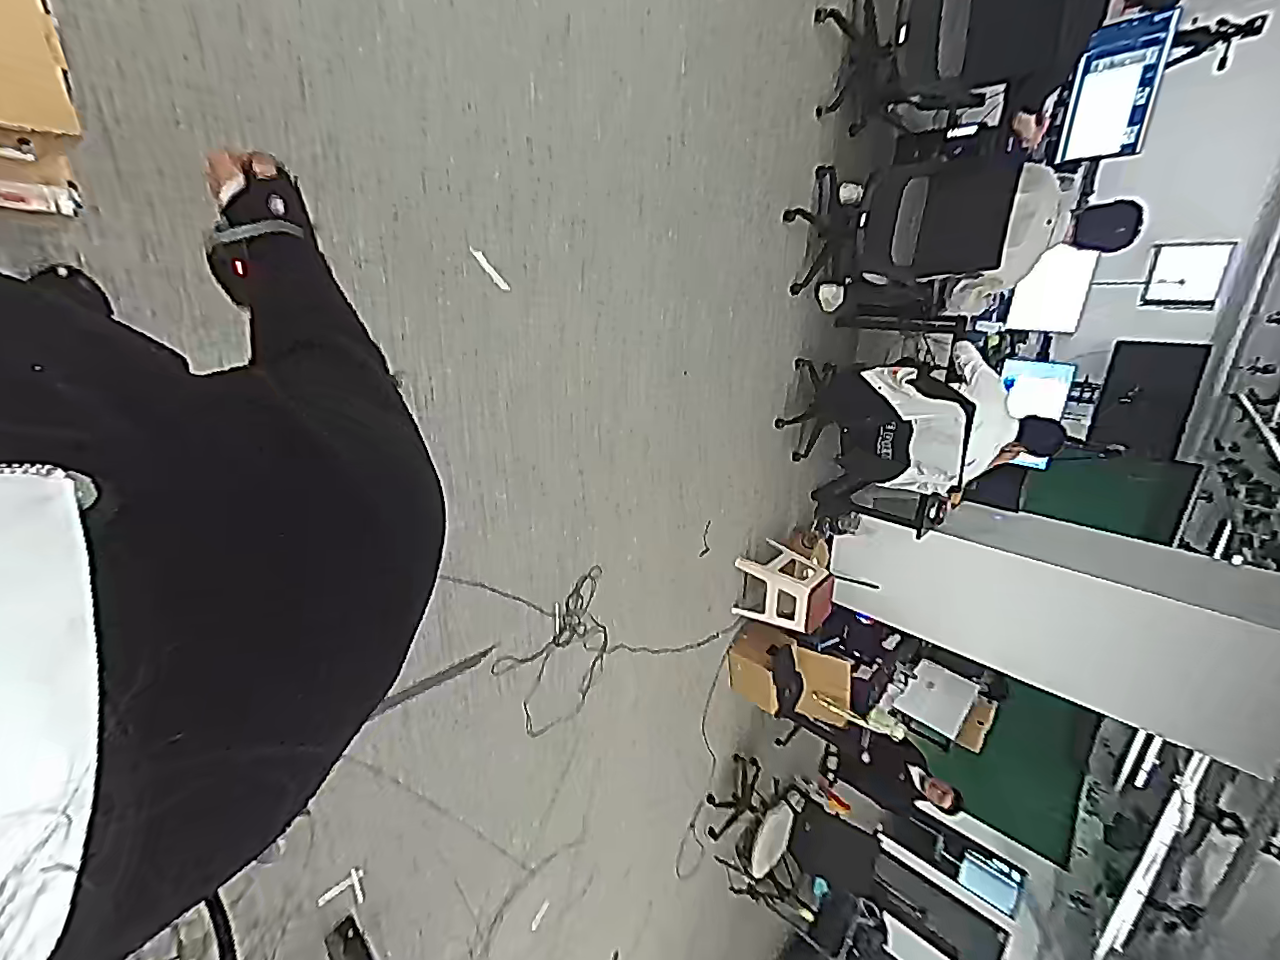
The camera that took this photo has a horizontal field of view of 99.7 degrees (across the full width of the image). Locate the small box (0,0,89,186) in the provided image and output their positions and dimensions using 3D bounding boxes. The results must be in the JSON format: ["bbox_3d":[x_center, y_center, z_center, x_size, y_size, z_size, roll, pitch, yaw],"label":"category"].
[{"bbox_3d":[-0.707,-0.399,0.540,0.179,0.176,0.168,-21,121,-44],"label":"small box"}]
